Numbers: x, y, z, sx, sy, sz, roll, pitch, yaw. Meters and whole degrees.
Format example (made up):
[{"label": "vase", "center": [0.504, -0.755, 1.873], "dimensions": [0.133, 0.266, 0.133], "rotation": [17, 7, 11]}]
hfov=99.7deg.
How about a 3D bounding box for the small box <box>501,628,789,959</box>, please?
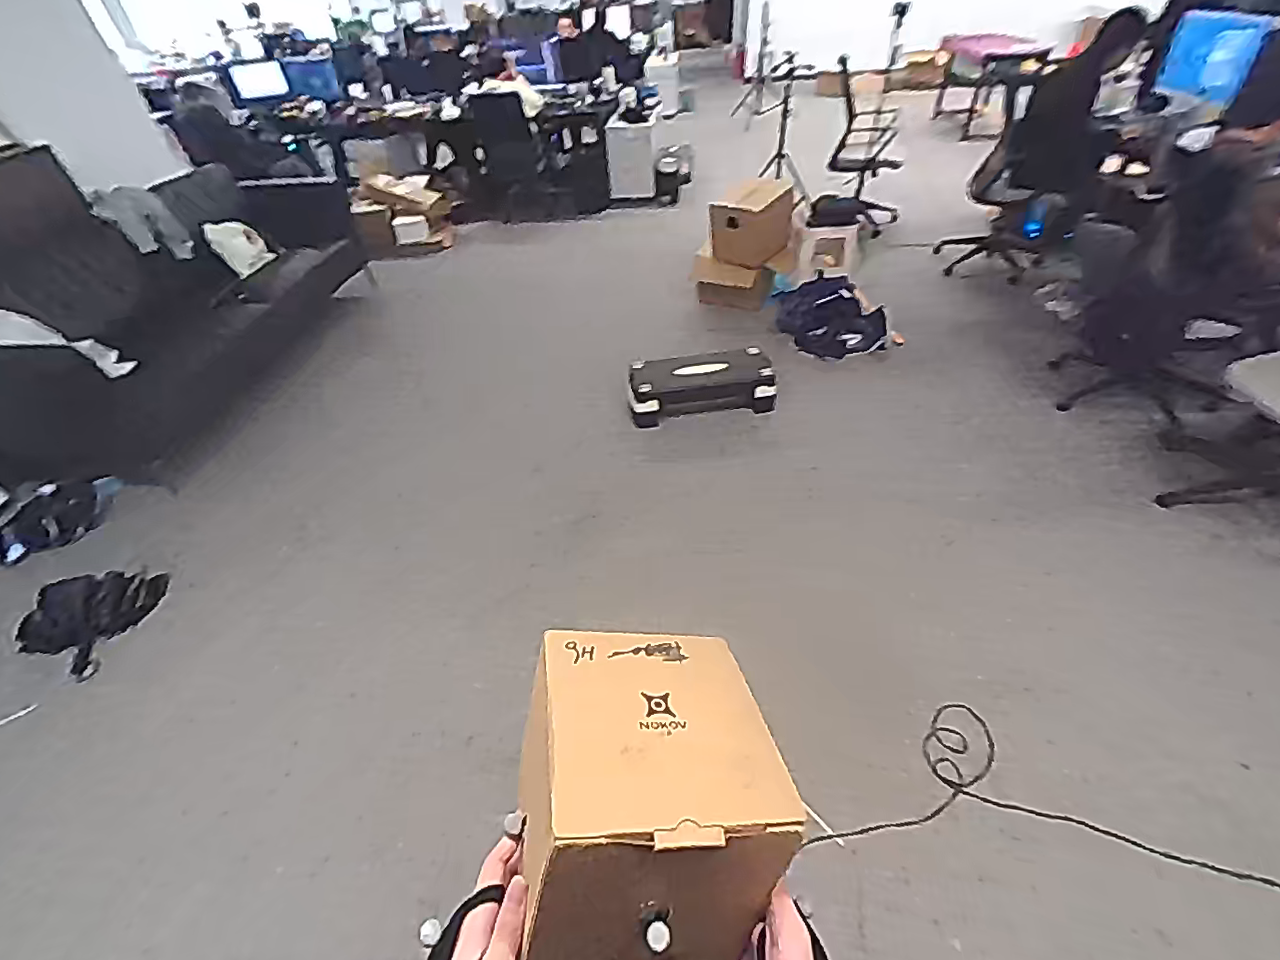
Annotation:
[{"label": "small box", "center": [-0.014, 0.243, 0.425], "dimensions": [0.168, 0.176, 0.179], "rotation": [8, 25, -15]}]
